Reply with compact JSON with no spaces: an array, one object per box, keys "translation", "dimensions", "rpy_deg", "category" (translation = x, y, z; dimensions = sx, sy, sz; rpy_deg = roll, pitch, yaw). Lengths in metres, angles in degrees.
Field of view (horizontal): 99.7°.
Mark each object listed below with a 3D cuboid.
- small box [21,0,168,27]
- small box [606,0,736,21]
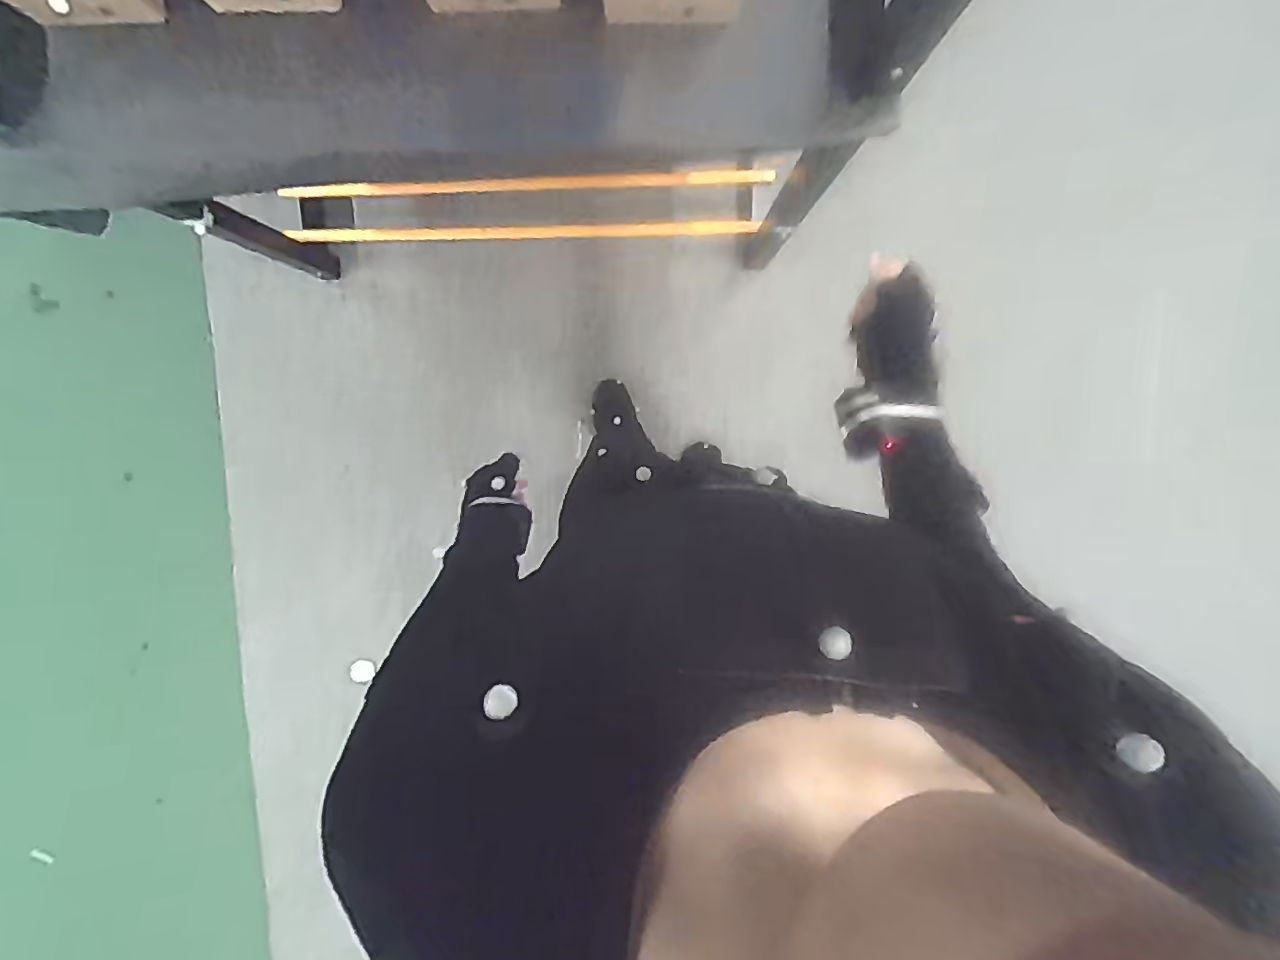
[{"translation":[-0.687,-0.663,0.608],"dimensions":[0.168,0.176,0.179],"rpy_deg":[-1,97,1],"category":"small box"},{"translation":[0.036,-0.652,0.594],"dimensions":[0.168,0.176,0.179],"rpy_deg":[1,96,1],"category":"small box"}]
